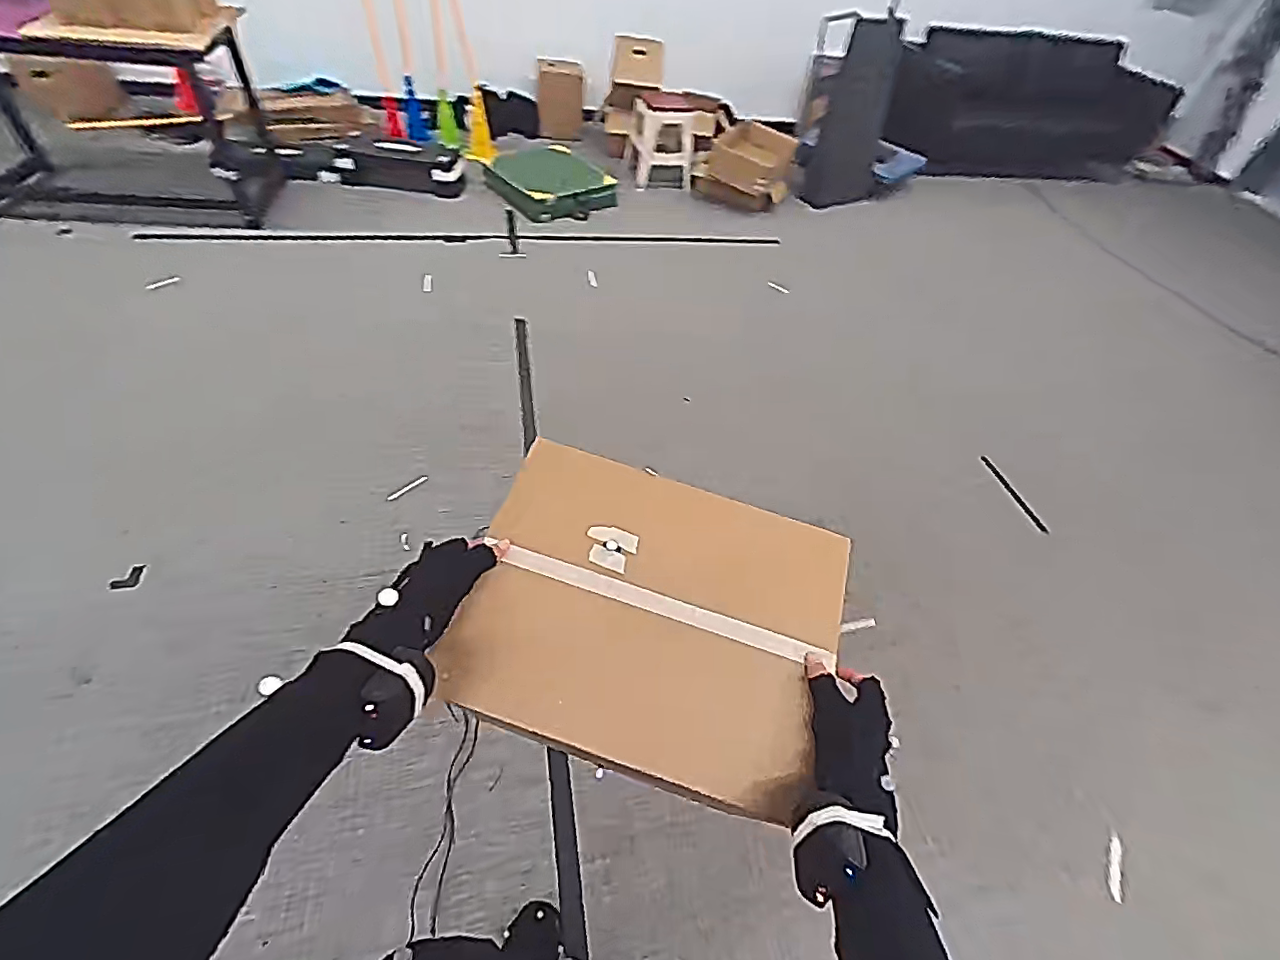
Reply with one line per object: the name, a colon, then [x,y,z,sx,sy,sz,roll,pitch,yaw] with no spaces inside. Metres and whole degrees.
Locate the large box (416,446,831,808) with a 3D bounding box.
large box: [-0.006,0.206,0.731,0.408,0.320,0.320,17,60,4]
